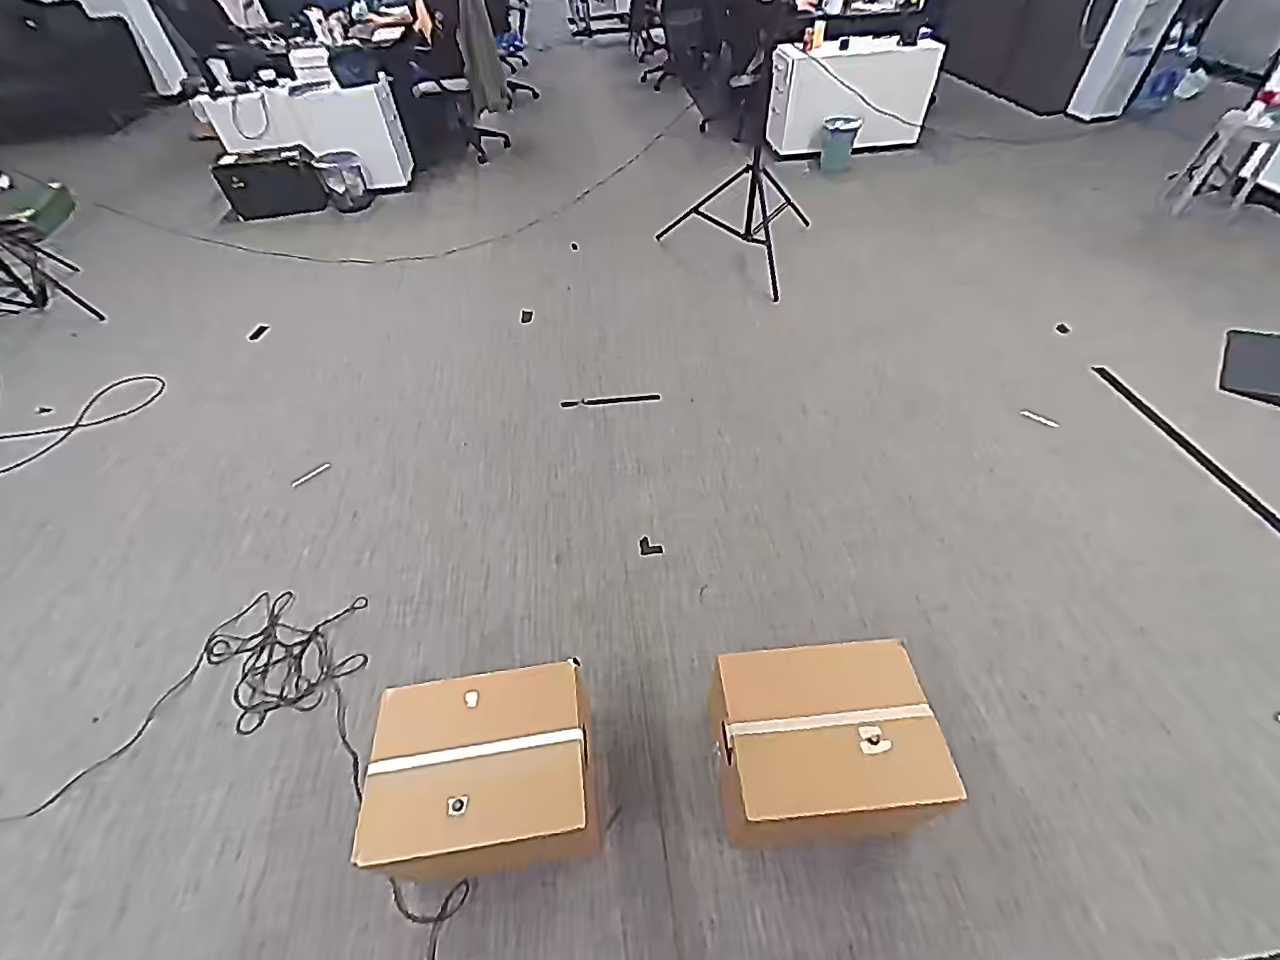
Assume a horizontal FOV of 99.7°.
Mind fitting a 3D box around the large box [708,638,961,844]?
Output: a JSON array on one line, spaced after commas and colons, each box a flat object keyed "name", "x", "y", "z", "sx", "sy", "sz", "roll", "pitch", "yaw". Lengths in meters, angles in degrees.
[{"name": "large box", "x": 0.382, "y": 0.574, "z": 1.187, "sx": 0.408, "sy": 0.320, "sz": 0.320, "roll": -4, "pitch": 49, "yaw": -2}]
